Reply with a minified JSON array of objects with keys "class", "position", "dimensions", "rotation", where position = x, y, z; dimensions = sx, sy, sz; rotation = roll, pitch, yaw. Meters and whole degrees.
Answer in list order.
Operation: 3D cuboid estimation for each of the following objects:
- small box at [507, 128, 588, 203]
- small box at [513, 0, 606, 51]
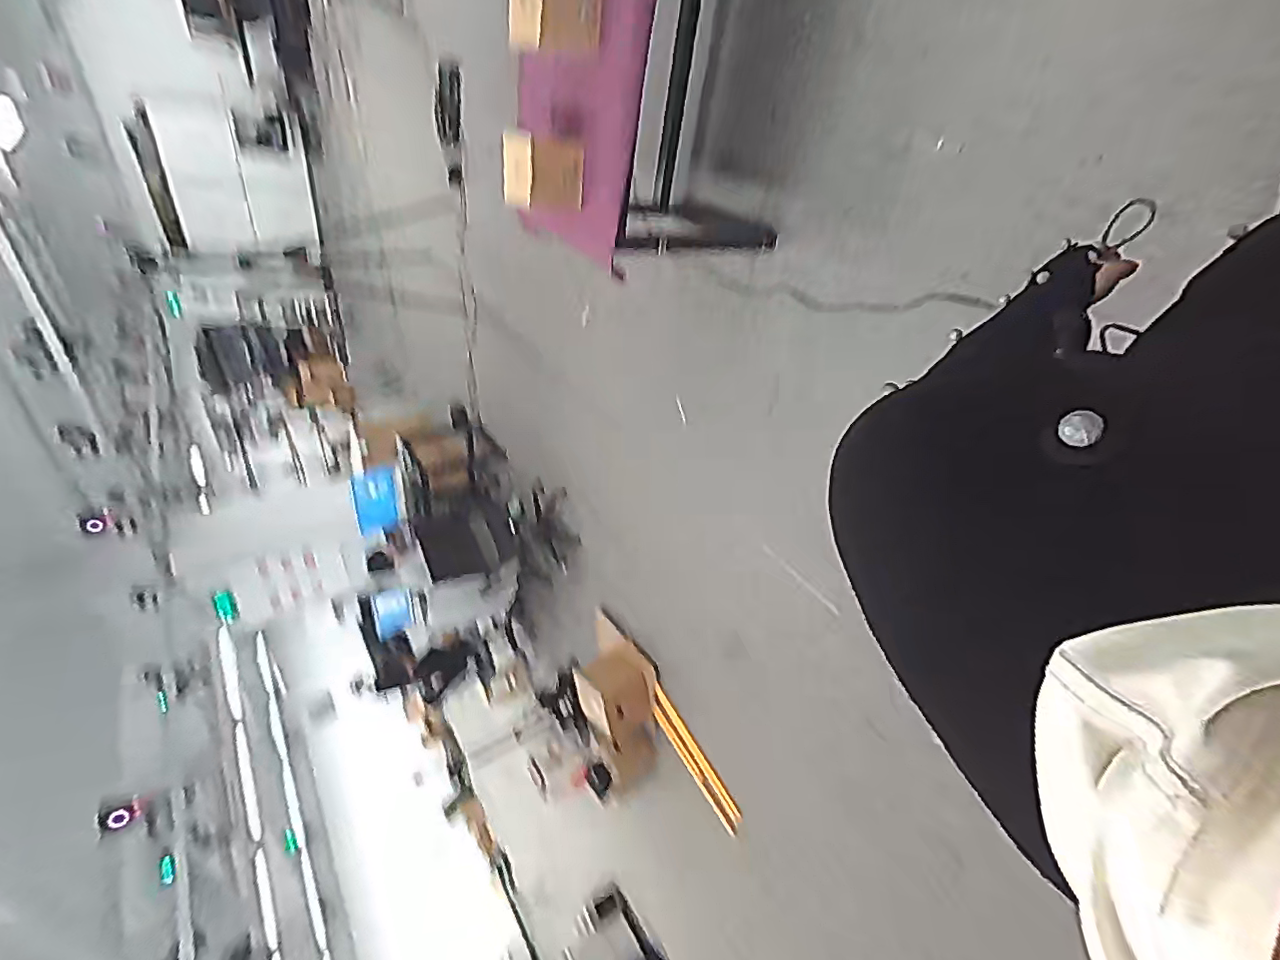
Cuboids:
[{"class":"small box","position":[-0.271,-0.906,1.563],"dimensions":[0.179,0.176,0.168],"rotation":[40,134,40]},{"class":"small box","position":[-0.199,-1.180,1.334],"dimensions":[0.179,0.176,0.168],"rotation":[43,137,38]}]
